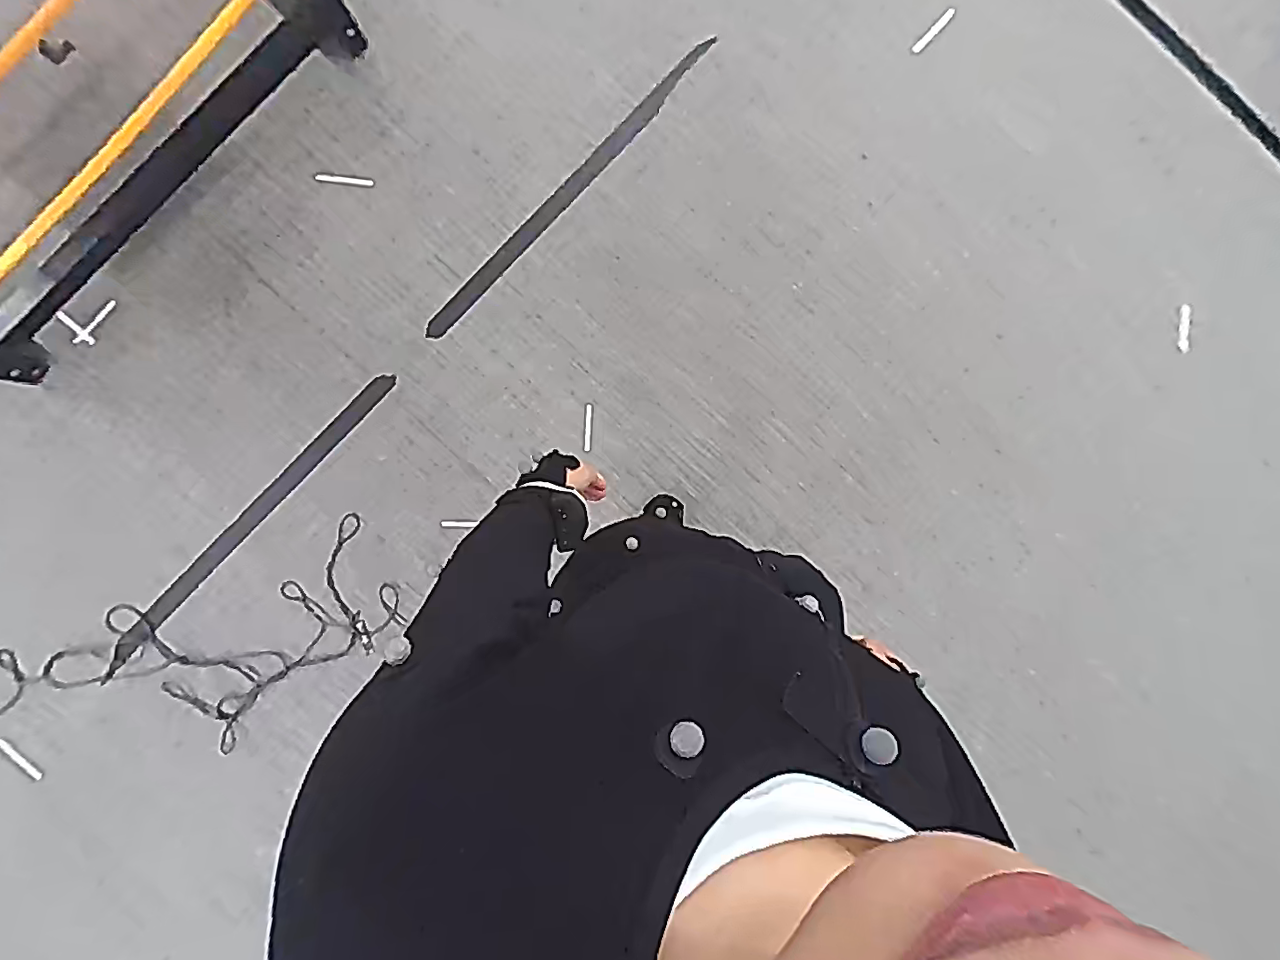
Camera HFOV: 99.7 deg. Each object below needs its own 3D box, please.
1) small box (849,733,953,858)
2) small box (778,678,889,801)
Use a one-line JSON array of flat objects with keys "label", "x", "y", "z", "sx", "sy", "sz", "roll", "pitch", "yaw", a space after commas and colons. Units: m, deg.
[{"label": "small box", "x": 0.633, "y": 0.777, "z": 1.338, "sx": 0.179, "sy": 0.176, "sz": 0.168, "roll": 41, "pitch": 89, "yaw": -3}, {"label": "small box", "x": 0.464, "y": 0.629, "z": 1.333, "sx": 0.168, "sy": 0.176, "sz": 0.179, "roll": 42, "pitch": 88, "yaw": -2}]
